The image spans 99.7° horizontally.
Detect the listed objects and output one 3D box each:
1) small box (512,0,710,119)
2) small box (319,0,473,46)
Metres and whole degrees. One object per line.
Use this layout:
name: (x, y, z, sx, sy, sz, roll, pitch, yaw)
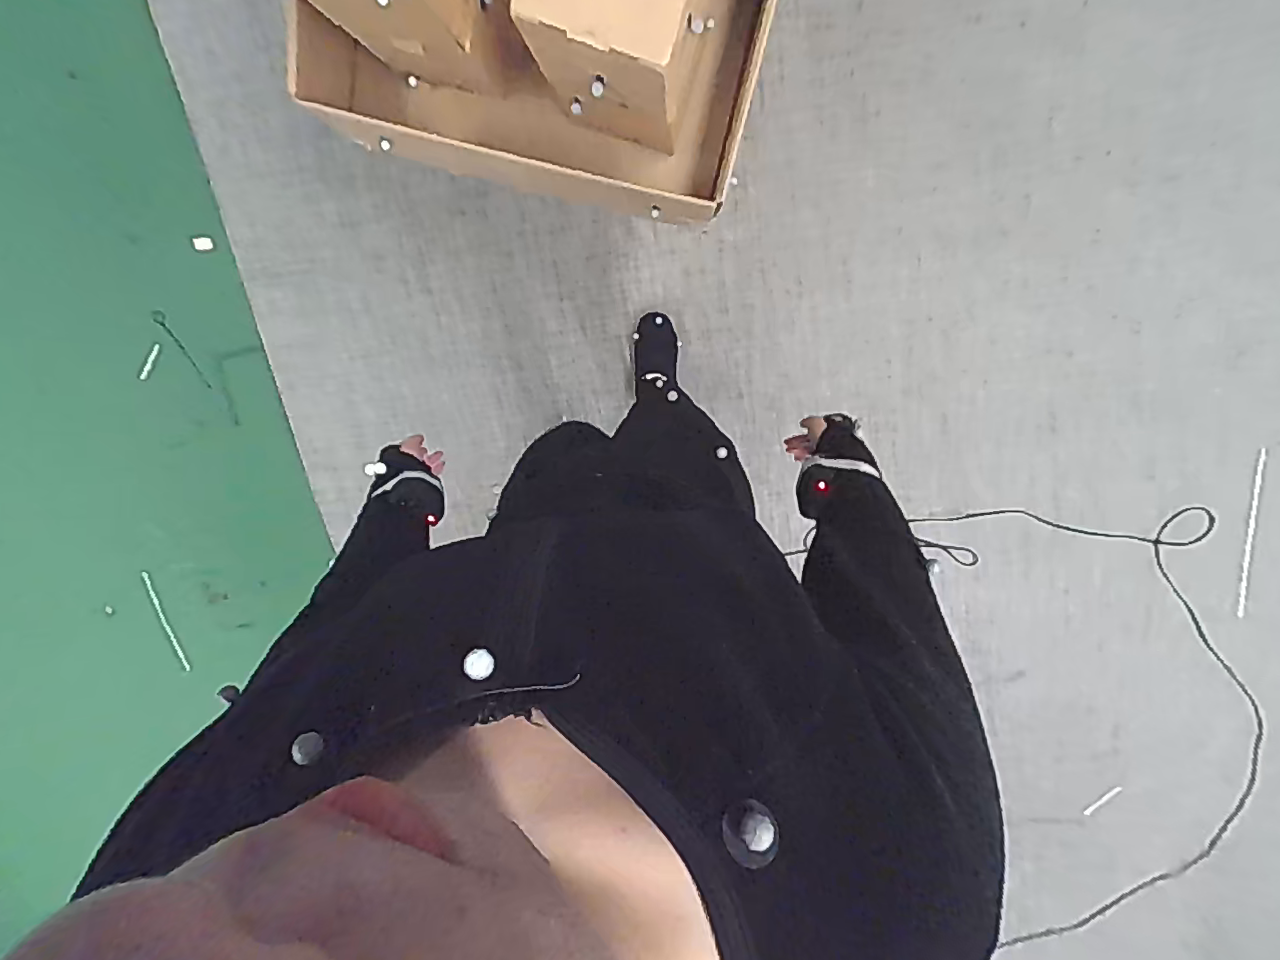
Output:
small box: (-0.015, -0.529, 0.580, 0.168, 0.176, 0.179, 20, 108, -3)
small box: (-0.286, -0.608, 0.576, 0.179, 0.176, 0.168, 12, 108, -2)
